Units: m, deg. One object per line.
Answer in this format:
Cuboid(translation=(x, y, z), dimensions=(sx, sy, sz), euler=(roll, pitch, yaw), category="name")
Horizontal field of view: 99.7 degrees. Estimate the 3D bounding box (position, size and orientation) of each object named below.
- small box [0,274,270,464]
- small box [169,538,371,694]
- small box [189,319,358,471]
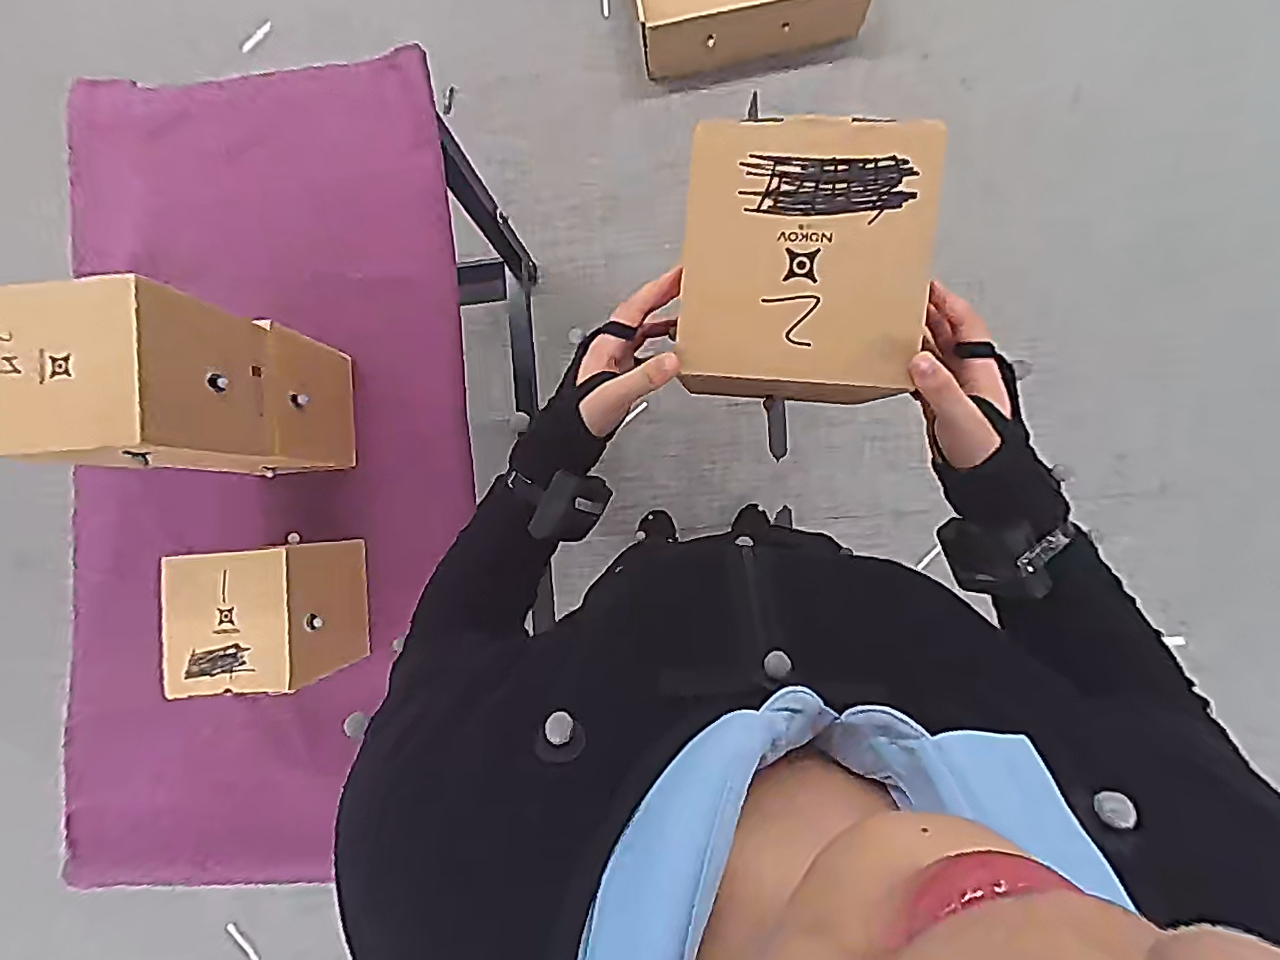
Cuboid(translation=(-0.543, -0.108, 0.596), dimensions=(0.179, 0.176, 0.168), euler=(-4, 87, 5), category="small box")
Cuboid(translation=(-0.493, 0.176, 0.743), dimensions=(0.168, 0.176, 0.179), euler=(-5, 86, 4), category="small box")
Cuboid(translation=(-0.522, -0.109, 0.760), dimensions=(0.168, 0.176, 0.179), euler=(-4, 88, 4), category="small box")
